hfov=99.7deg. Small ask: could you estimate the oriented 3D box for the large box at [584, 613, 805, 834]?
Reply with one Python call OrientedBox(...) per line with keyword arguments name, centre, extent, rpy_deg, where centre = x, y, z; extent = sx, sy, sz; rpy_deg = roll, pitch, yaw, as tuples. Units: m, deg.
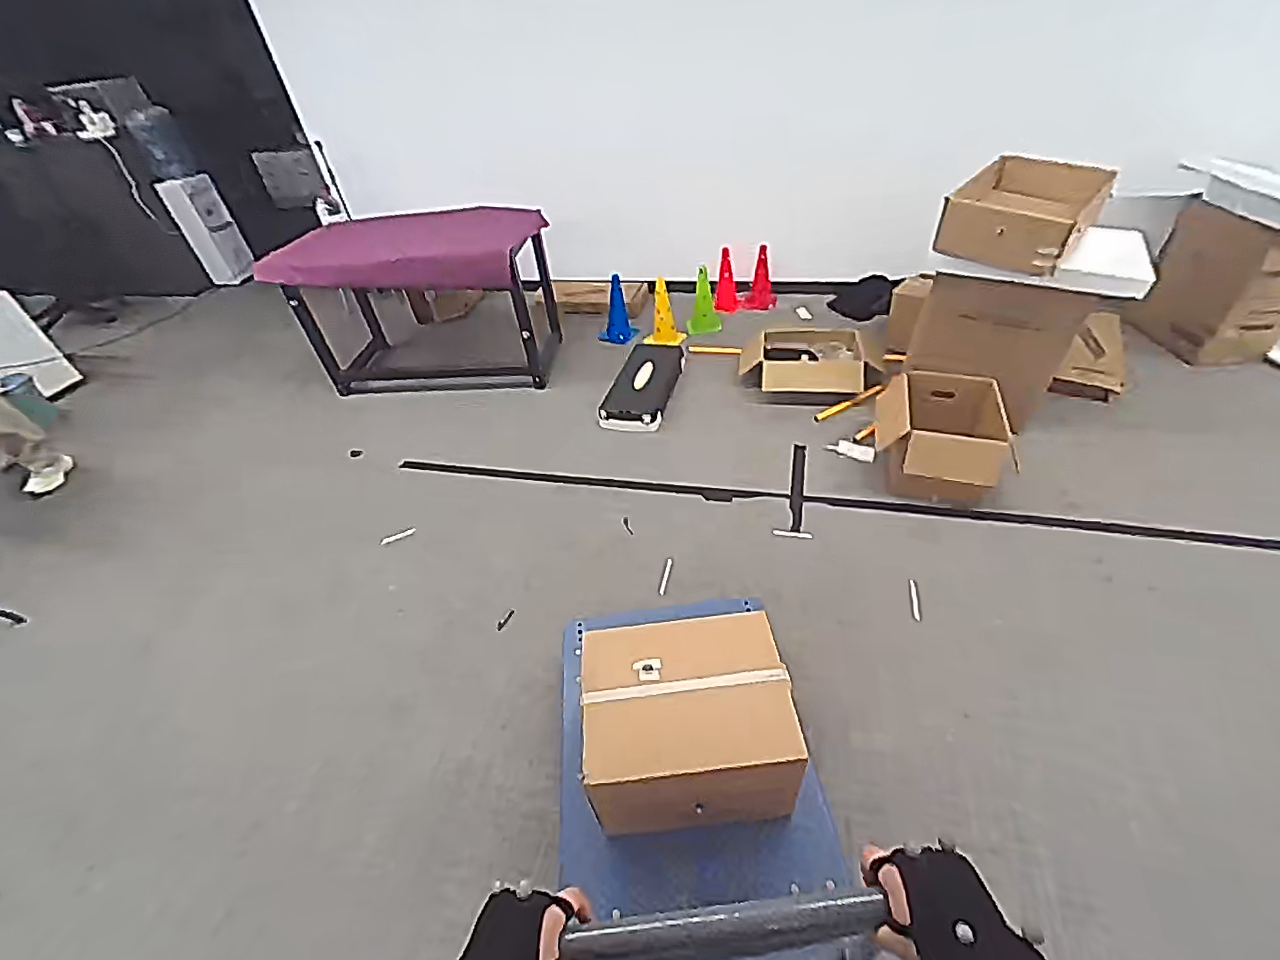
OrientedBox(name="large box", centre=(0.104, 0.531, 1.178), extent=(0.408, 0.320, 0.320), rpy_deg=(-8, 41, 0))
